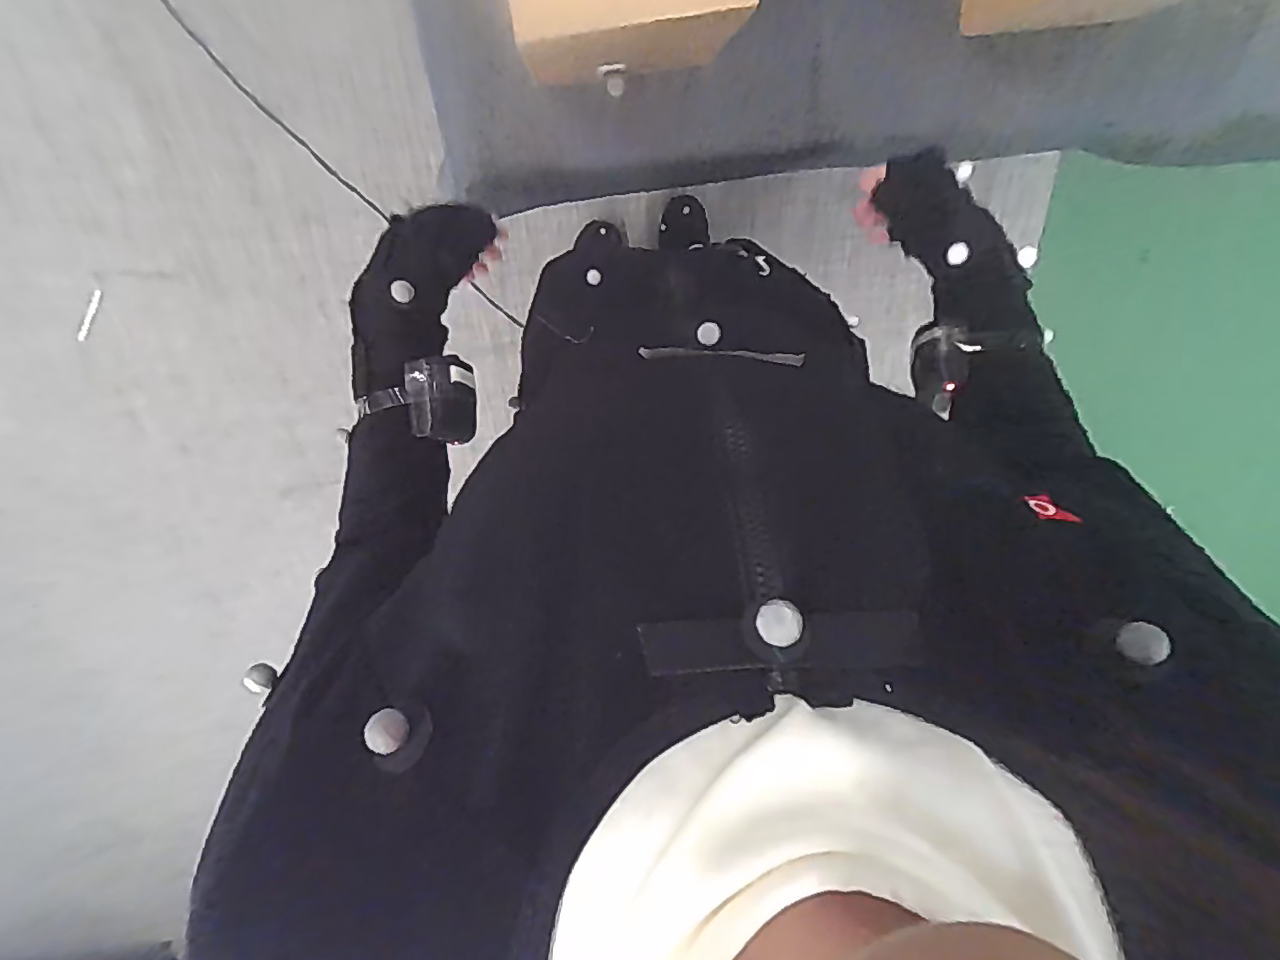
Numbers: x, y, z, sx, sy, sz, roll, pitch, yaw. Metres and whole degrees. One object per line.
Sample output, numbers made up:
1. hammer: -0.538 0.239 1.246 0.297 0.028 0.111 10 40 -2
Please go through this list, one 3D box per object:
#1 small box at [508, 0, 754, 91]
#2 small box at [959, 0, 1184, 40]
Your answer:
1. small box: -0.022 -0.417 0.396 0.168 0.176 0.179 -10 117 0
2. small box: 0.375 -0.469 0.407 0.168 0.176 0.179 -6 117 -1
